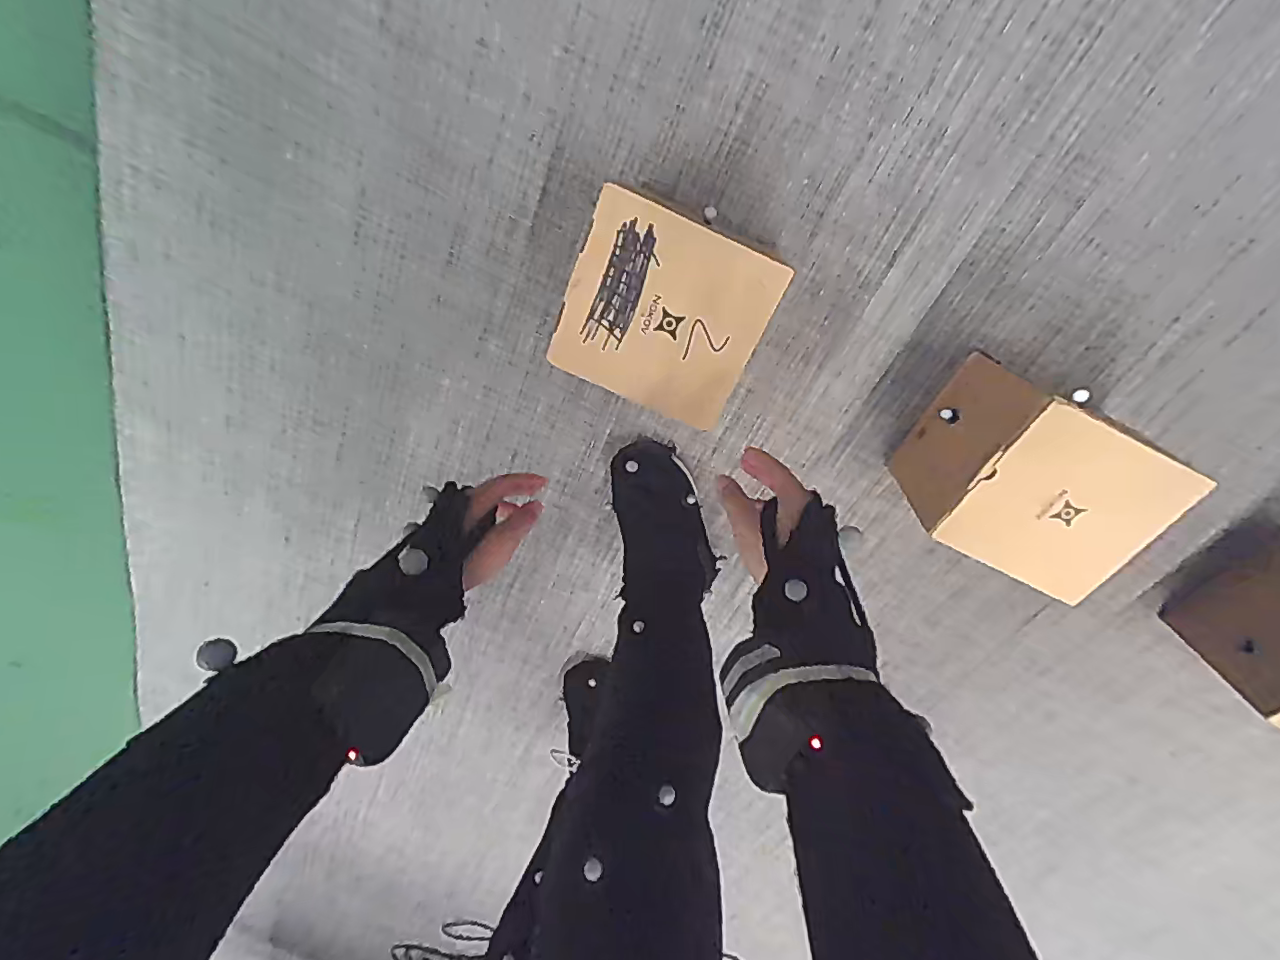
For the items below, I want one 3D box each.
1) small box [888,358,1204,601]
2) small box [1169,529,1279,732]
[{"bbox_3d":[0.405,-0.011,0.580,0.179,0.176,0.168,26,118,-4],"label":"small box"},{"bbox_3d":[0.783,0.192,0.624,0.168,0.176,0.179,28,117,-8],"label":"small box"}]
